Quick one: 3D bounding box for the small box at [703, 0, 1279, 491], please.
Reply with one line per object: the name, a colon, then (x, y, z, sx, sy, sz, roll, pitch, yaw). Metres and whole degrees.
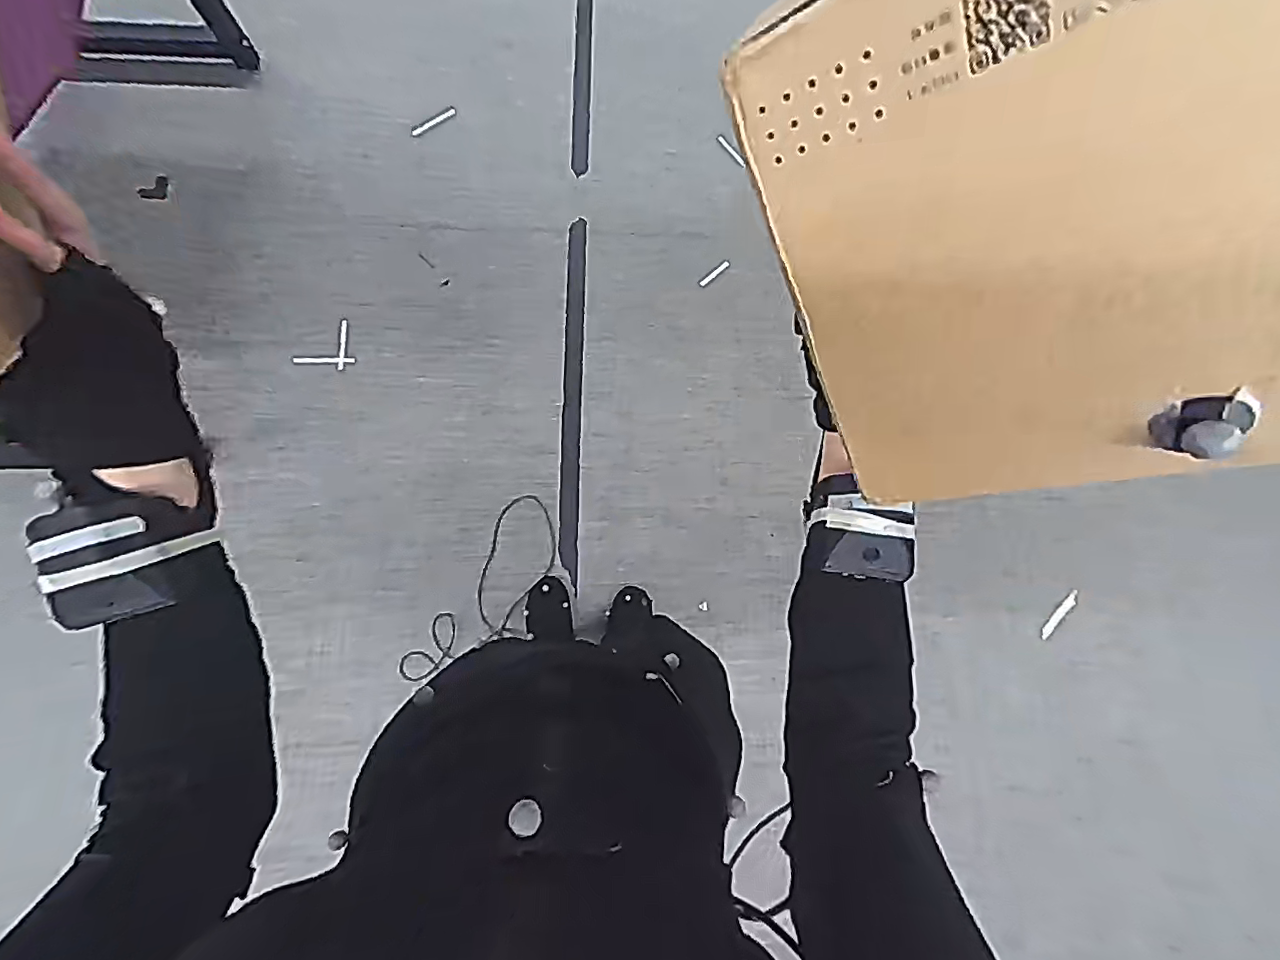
small box: (0.141, -0.124, 0.193, 0.176, 0.168, 0.179, 55, 40, -32)

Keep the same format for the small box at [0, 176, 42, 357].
small box: (-0.315, -0.110, 0.135, 0.179, 0.168, 0.176, -1, 119, -33)
